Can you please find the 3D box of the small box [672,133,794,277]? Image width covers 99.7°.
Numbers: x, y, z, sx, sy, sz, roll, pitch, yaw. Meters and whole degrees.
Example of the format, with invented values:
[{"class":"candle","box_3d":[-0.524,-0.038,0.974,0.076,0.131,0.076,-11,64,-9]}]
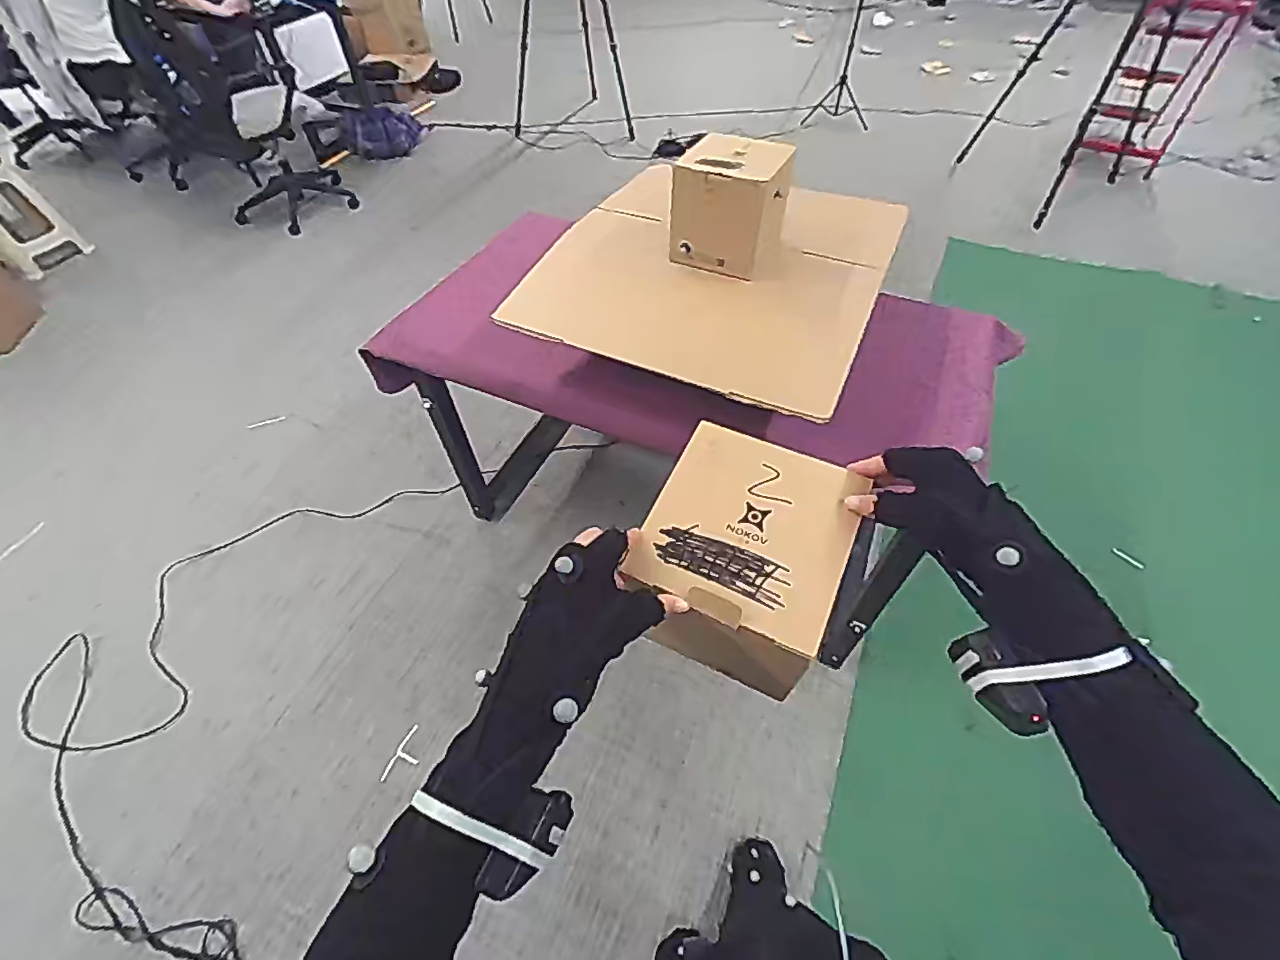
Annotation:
[{"class":"small box","box_3d":[0.164,-0.495,0.978,0.168,0.176,0.179,18,54,15]}]
